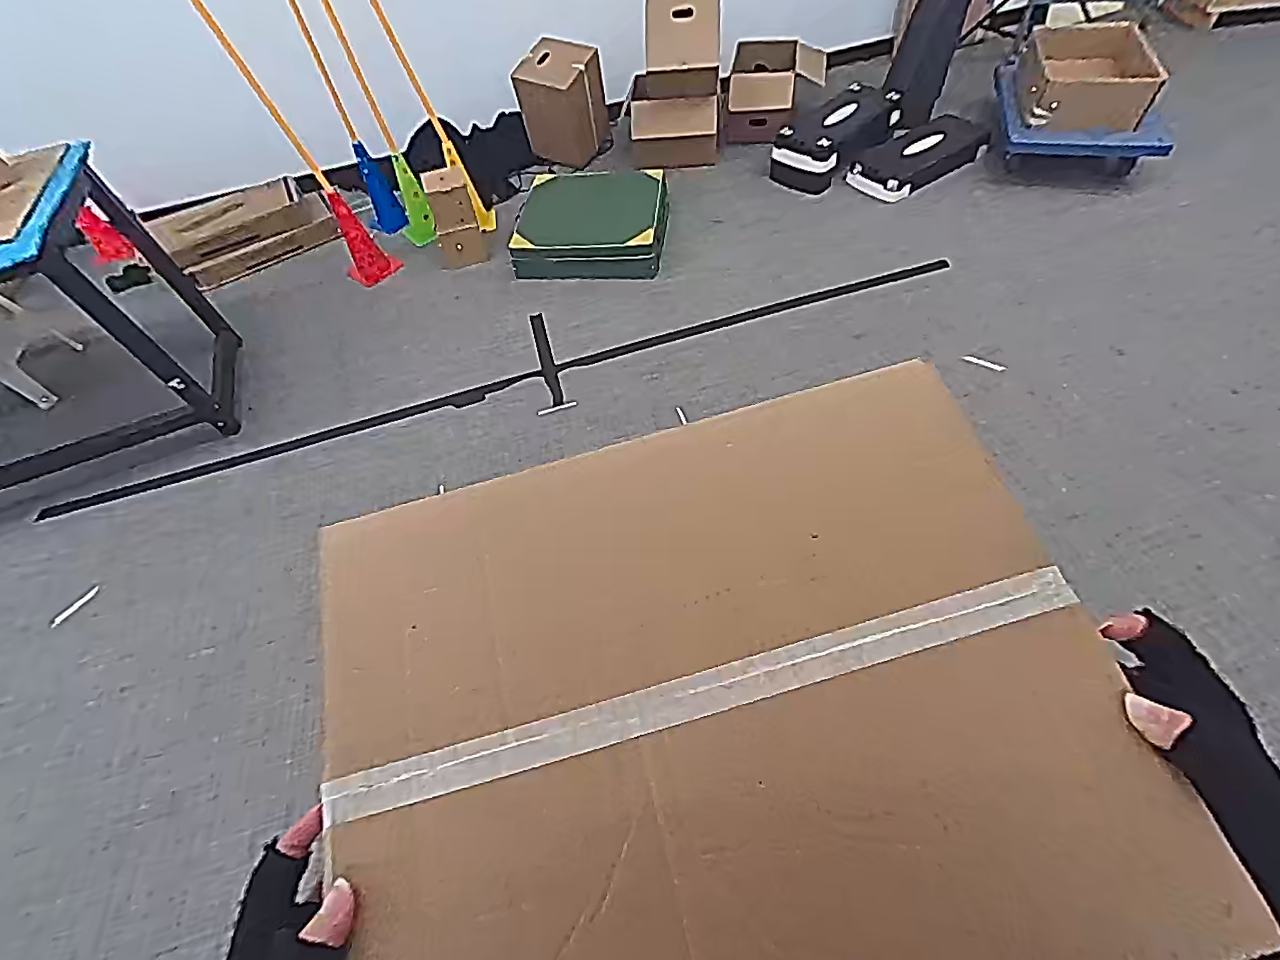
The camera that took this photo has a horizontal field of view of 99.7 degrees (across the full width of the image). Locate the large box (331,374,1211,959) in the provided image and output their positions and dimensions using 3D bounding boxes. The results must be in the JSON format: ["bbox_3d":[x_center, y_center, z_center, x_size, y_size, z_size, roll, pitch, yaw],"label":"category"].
[{"bbox_3d":[0.044,0.176,0.431,0.408,0.320,0.320,-16,65,-1],"label":"large box"}]
